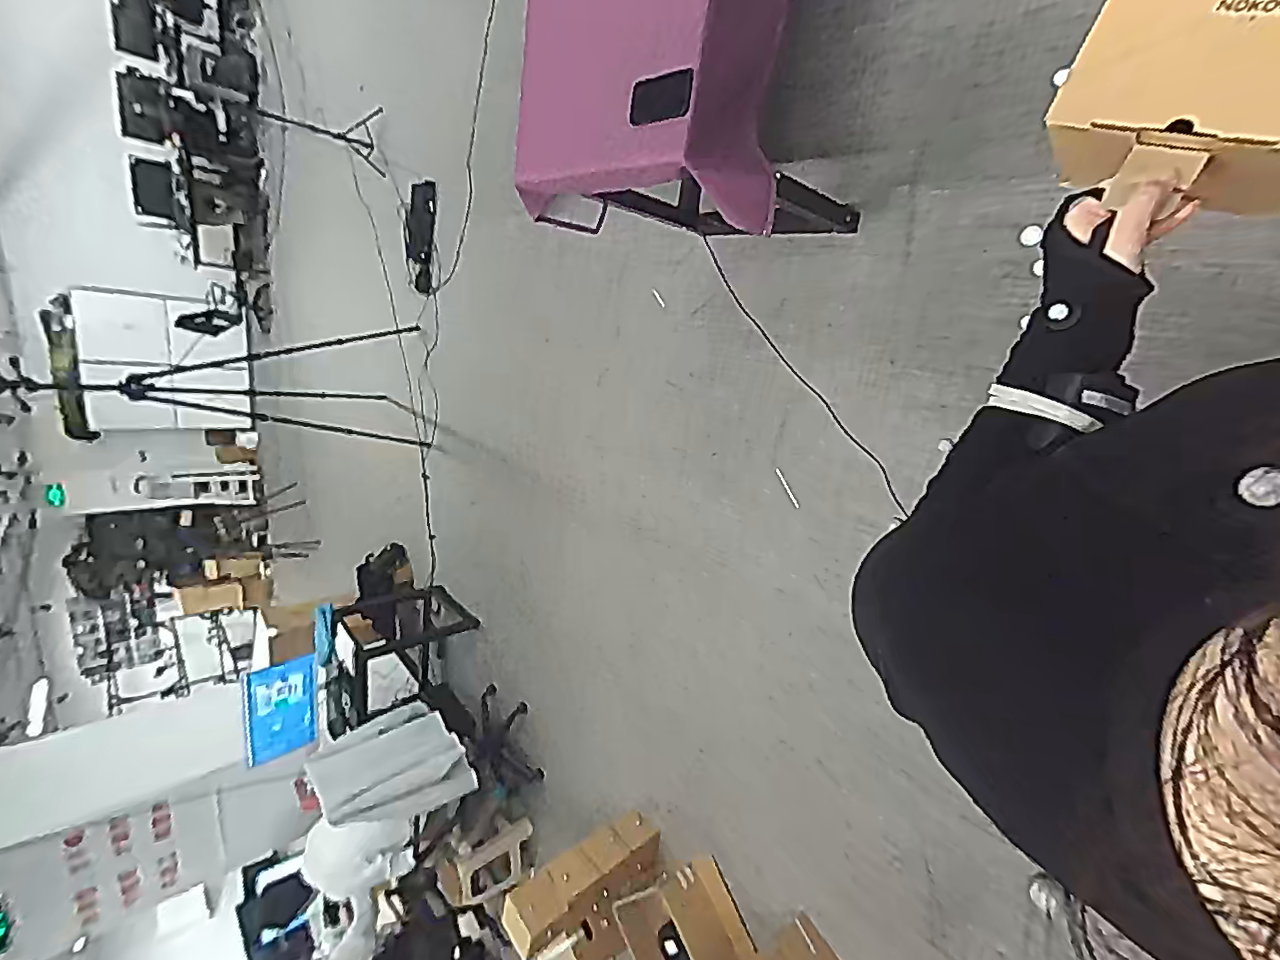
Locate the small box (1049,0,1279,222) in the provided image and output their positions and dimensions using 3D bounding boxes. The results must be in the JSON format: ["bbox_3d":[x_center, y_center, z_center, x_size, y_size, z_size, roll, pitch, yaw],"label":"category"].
[{"bbox_3d":[0.445,-0.319,0.403,0.168,0.176,0.179,33,117,31],"label":"small box"}]
